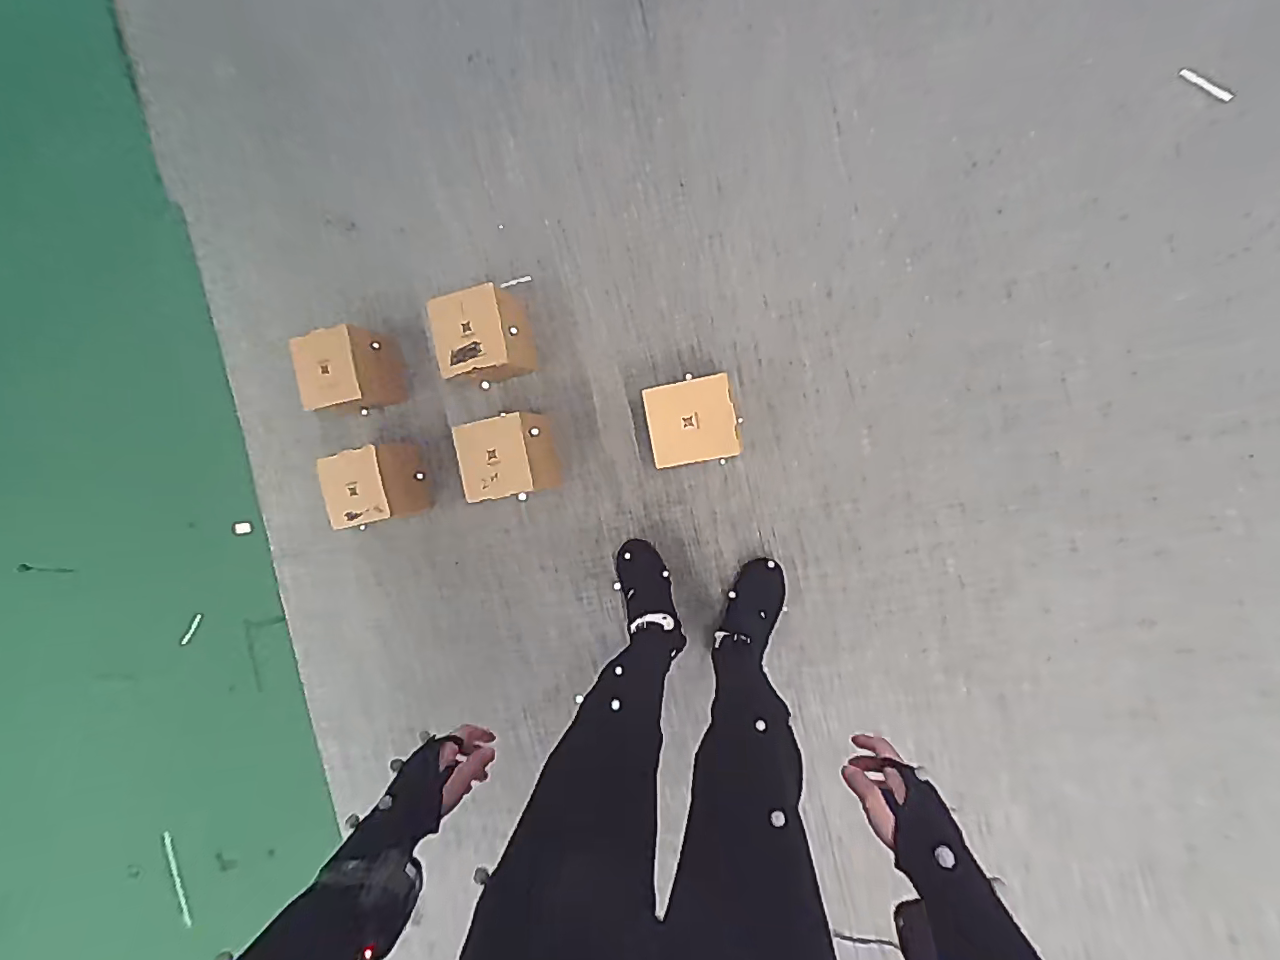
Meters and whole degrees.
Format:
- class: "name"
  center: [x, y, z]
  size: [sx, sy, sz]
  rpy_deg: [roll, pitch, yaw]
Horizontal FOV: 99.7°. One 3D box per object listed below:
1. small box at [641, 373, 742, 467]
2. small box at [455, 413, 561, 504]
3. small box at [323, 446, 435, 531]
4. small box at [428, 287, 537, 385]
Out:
- class: "small box"
  center: [0.117, -0.123, 1.162]
  size: [0.179, 0.176, 0.168]
  rpy_deg: [-11, 92, 13]
- class: "small box"
  center: [-0.300, -0.050, 1.262]
  size: [0.168, 0.176, 0.179]
  rpy_deg: [-11, 92, 14]
- class: "small box"
  center: [-0.641, 0.018, 1.345]
  size: [0.168, 0.176, 0.179]
  rpy_deg: [-12, 91, 14]
- class: "small box"
  center: [-0.355, -0.322, 1.252]
  size: [0.168, 0.176, 0.179]
  rpy_deg: [-11, 92, 13]
